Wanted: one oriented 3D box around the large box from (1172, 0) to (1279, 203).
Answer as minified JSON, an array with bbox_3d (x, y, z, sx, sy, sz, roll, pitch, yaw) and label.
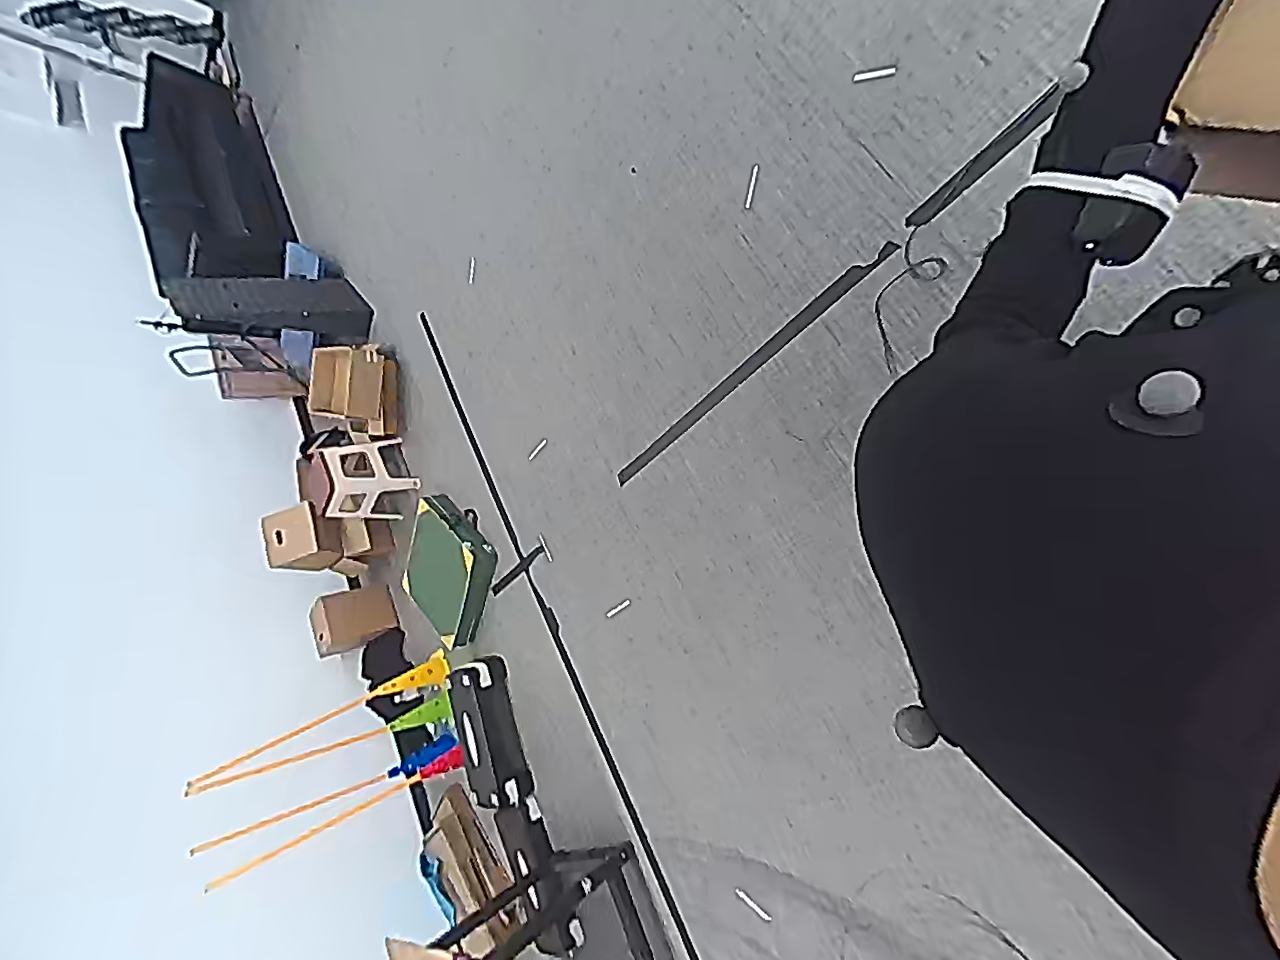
[{"bbox_3d":[0.613,-0.319,0.280,0.408,0.320,0.320,32,125,34],"label":"large box"}]
